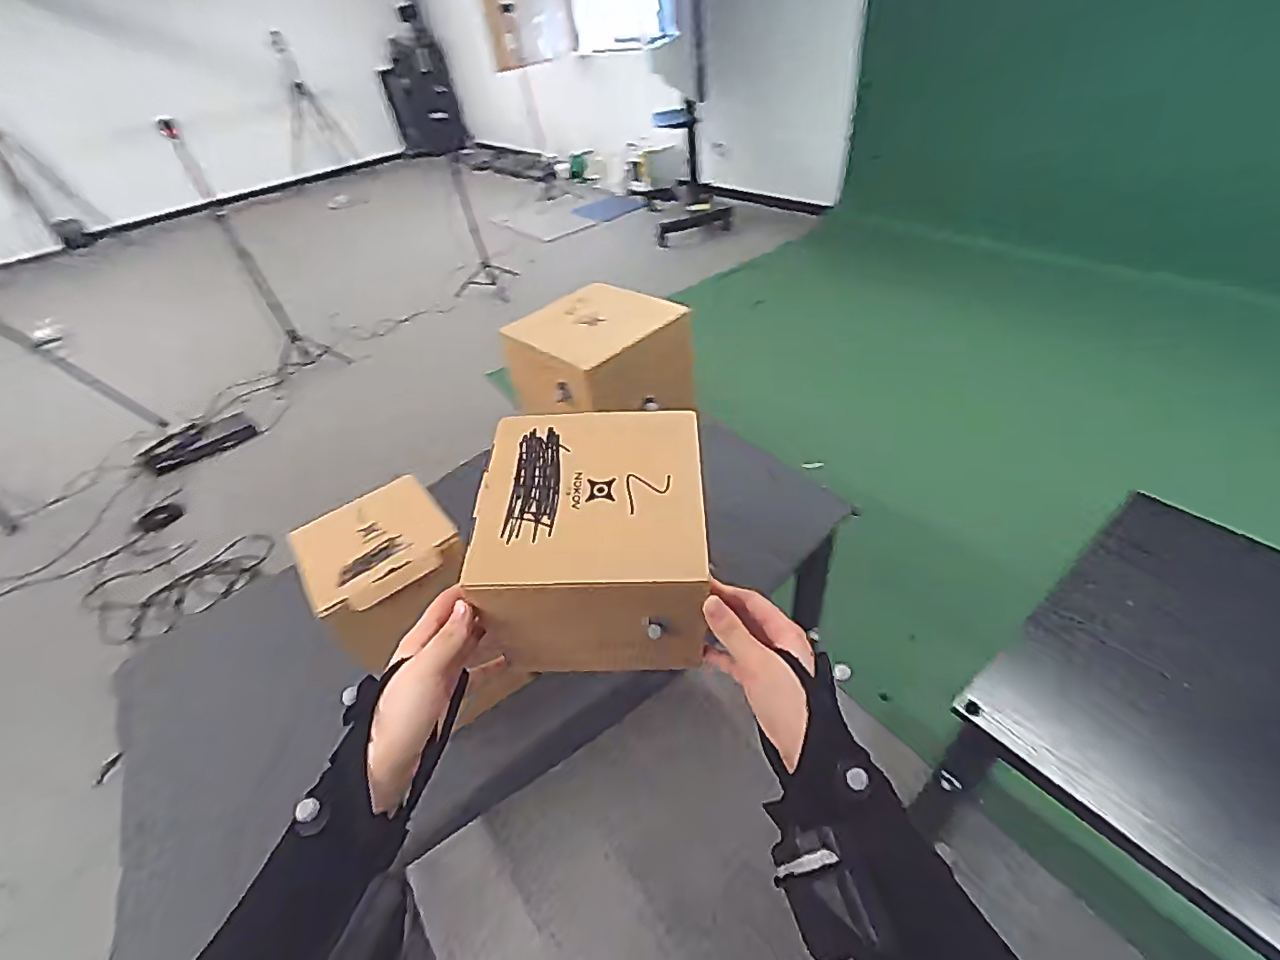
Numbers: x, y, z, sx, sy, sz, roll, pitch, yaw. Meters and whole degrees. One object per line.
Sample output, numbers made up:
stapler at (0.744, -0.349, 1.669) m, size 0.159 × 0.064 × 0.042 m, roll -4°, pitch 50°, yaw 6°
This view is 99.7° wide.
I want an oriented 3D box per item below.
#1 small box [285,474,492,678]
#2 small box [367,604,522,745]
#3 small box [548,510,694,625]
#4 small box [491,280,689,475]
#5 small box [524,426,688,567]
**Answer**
small box at (-0.320, 0.128, 0.708) m, size 0.168 × 0.176 × 0.179 m, roll -33°, pitch 44°, yaw -24°
small box at (-0.295, 0.253, 0.814) m, size 0.179 × 0.176 × 0.168 m, roll -31°, pitch 44°, yaw -20°
small box at (-0.025, 0.117, 0.906) m, size 0.168 × 0.176 × 0.179 m, roll -30°, pitch 45°, yaw -20°
small box at (-0.054, -0.130, 0.691) m, size 0.168 × 0.176 × 0.179 m, roll -38°, pitch 47°, yaw -27°
small box at (-0.041, -0.008, 0.803) m, size 0.179 × 0.176 × 0.168 m, roll -32°, pitch 45°, yaw -21°
